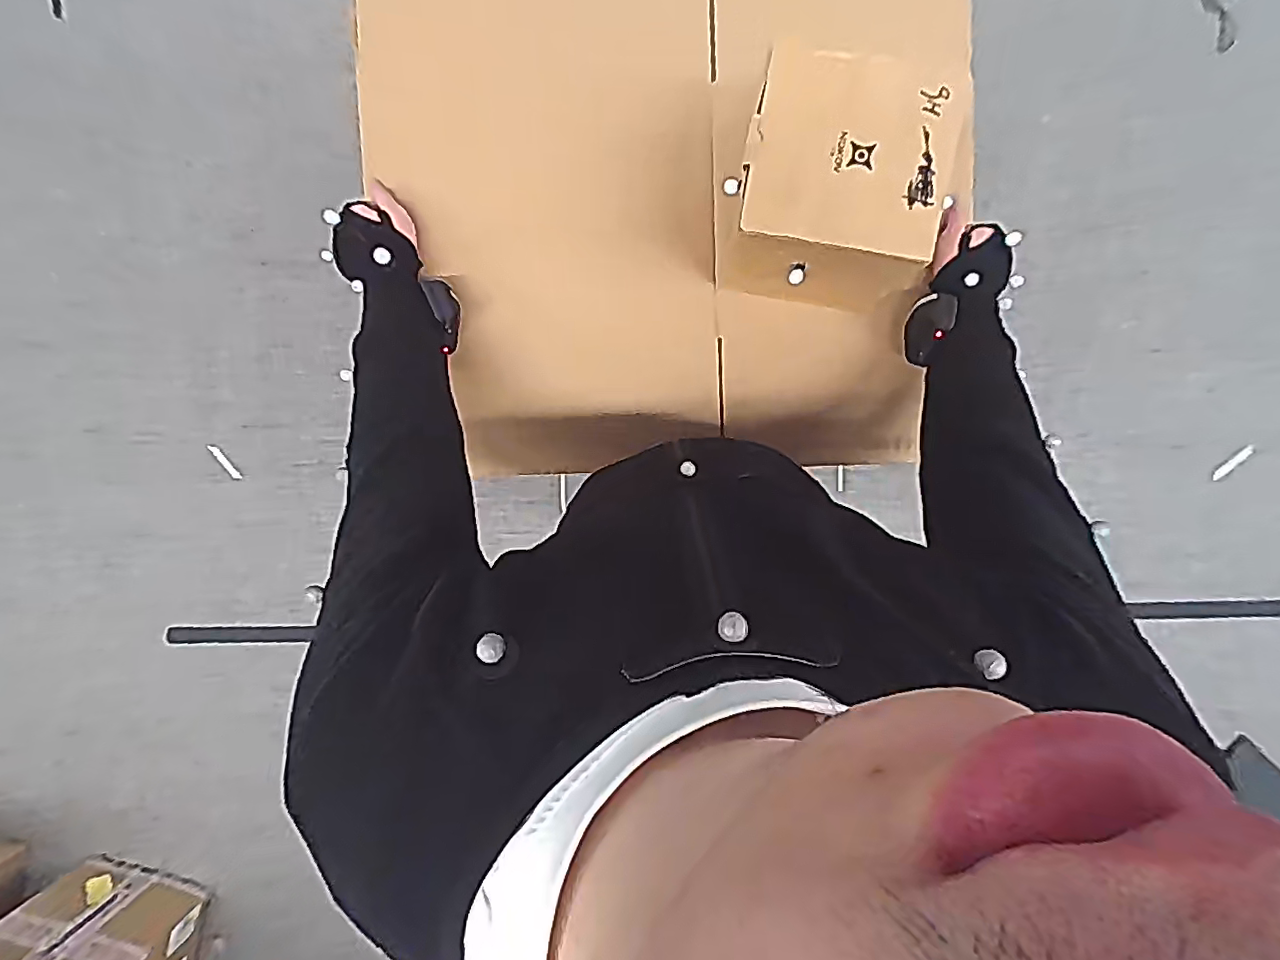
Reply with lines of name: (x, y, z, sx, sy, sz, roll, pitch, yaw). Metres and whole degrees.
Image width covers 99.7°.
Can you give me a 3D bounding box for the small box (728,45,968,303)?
small box: (0.194, -0.297, 0.561, 0.179, 0.176, 0.168, 11, 93, 4)
